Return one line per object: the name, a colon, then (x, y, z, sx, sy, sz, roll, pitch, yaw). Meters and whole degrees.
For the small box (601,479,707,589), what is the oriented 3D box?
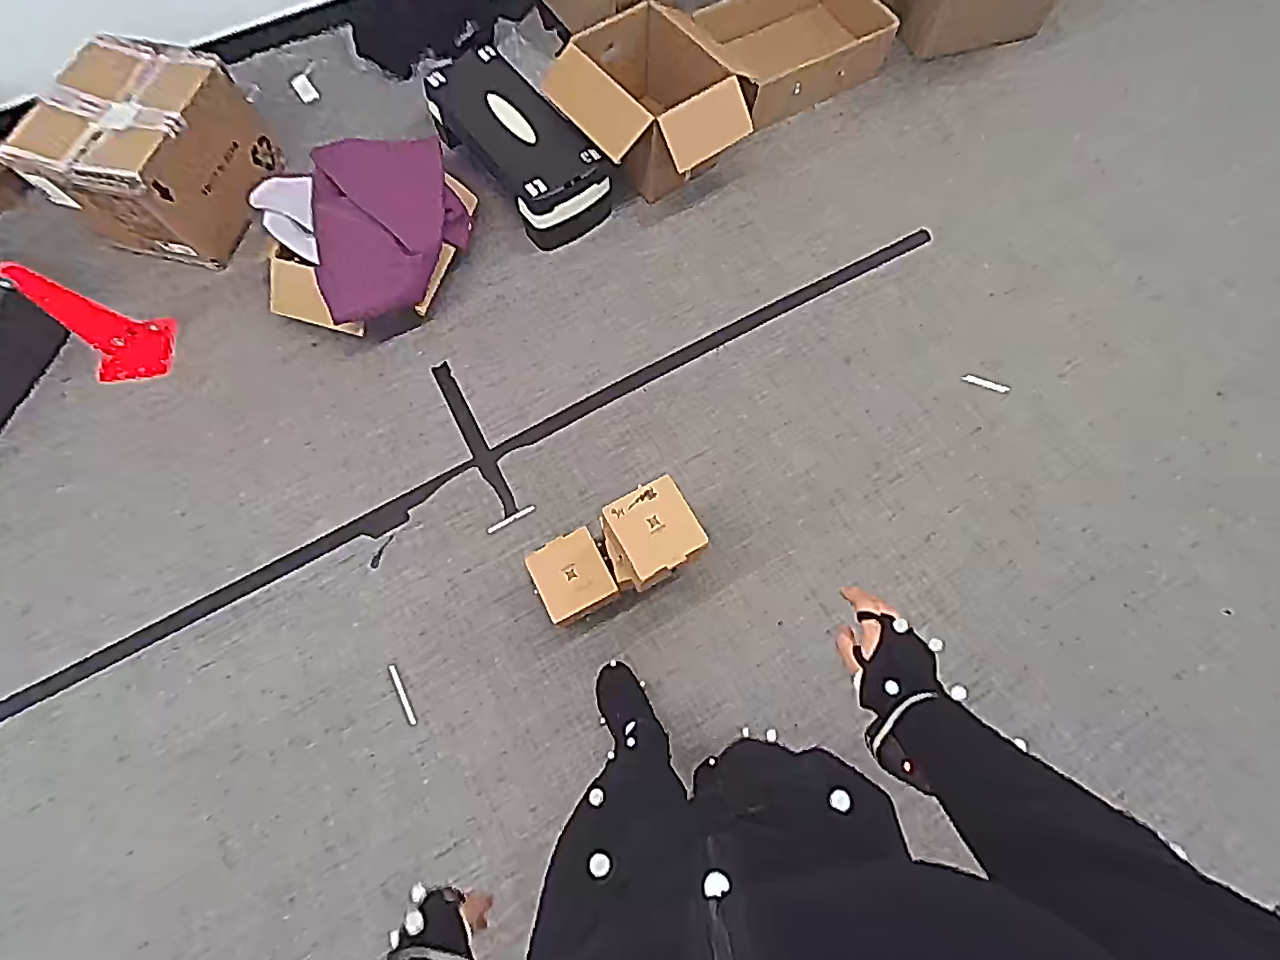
small box: (0.028, 0.128, 1.198, 0.168, 0.176, 0.179, -28, 74, -10)
